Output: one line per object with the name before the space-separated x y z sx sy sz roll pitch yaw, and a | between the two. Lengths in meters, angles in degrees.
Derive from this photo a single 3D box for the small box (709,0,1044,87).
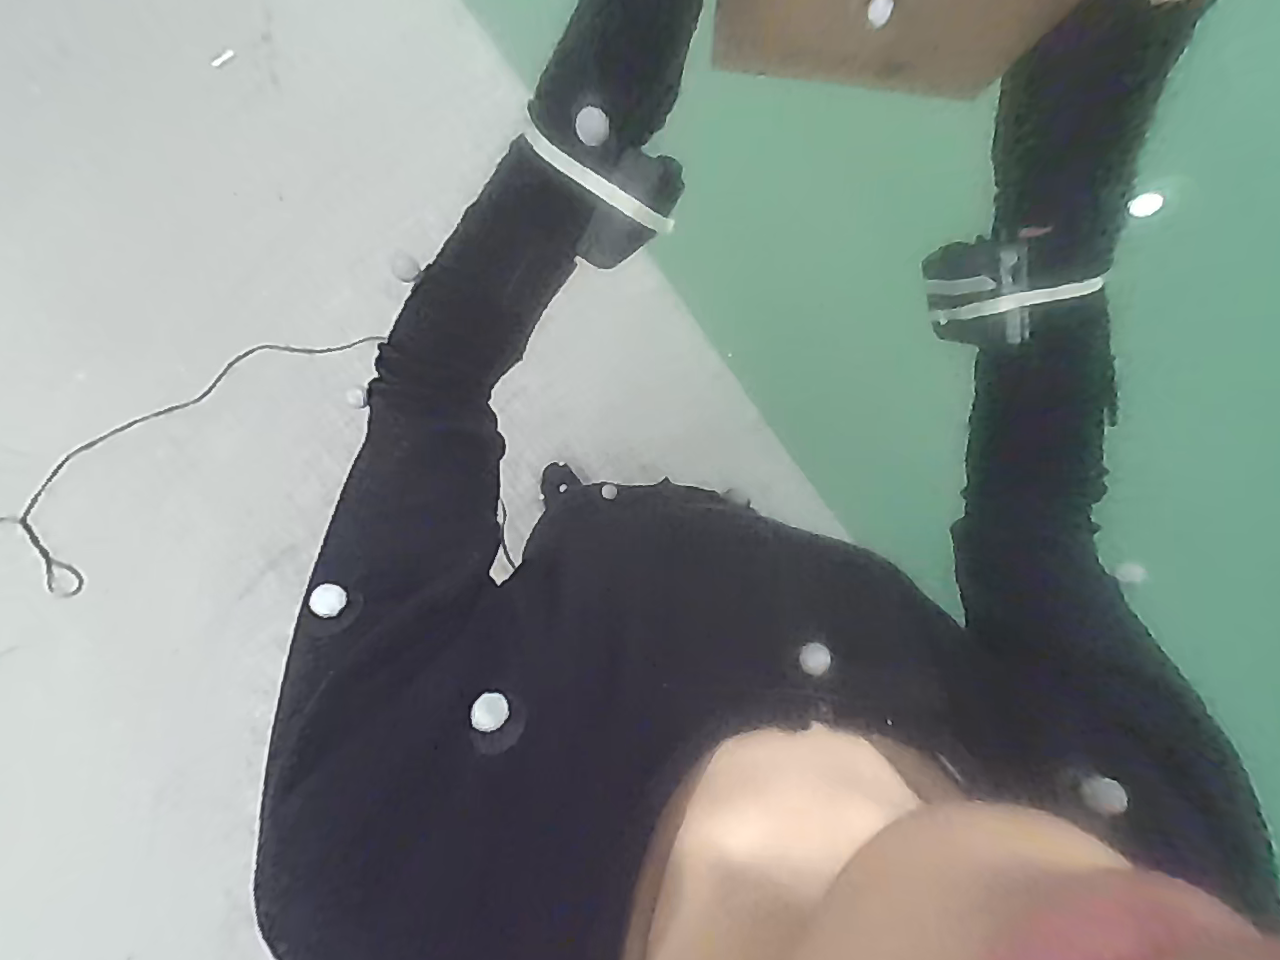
small box | 0.127 -0.315 0.236 0.168 0.176 0.179 8 98 0
